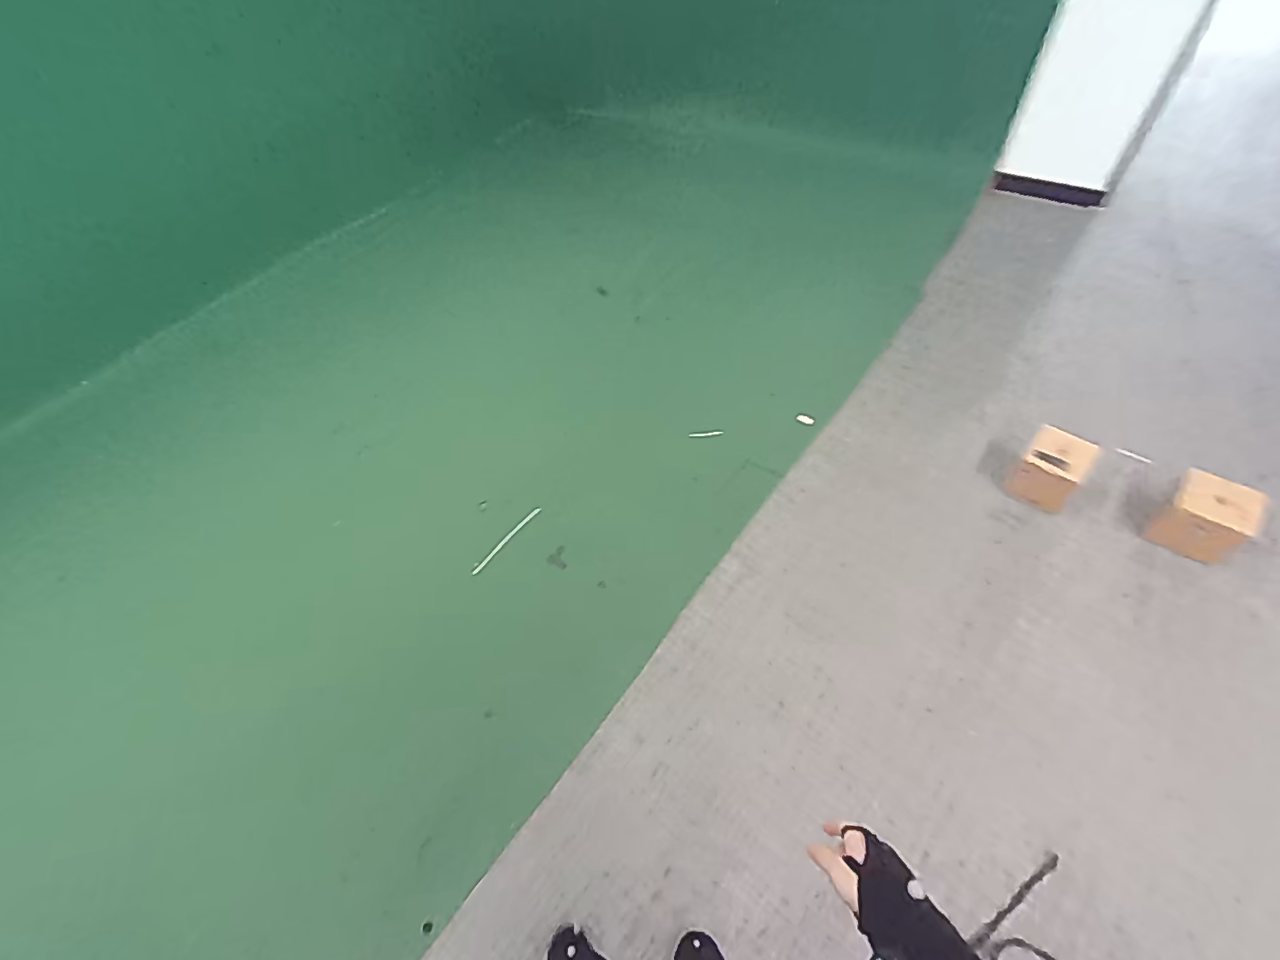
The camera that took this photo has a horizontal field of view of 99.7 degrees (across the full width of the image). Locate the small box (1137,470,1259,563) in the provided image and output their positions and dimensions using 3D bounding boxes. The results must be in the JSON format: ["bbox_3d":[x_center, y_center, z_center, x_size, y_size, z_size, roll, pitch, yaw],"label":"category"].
[{"bbox_3d":[1.593,0.110,1.553,0.179,0.176,0.168,31,65,26],"label":"small box"}]
